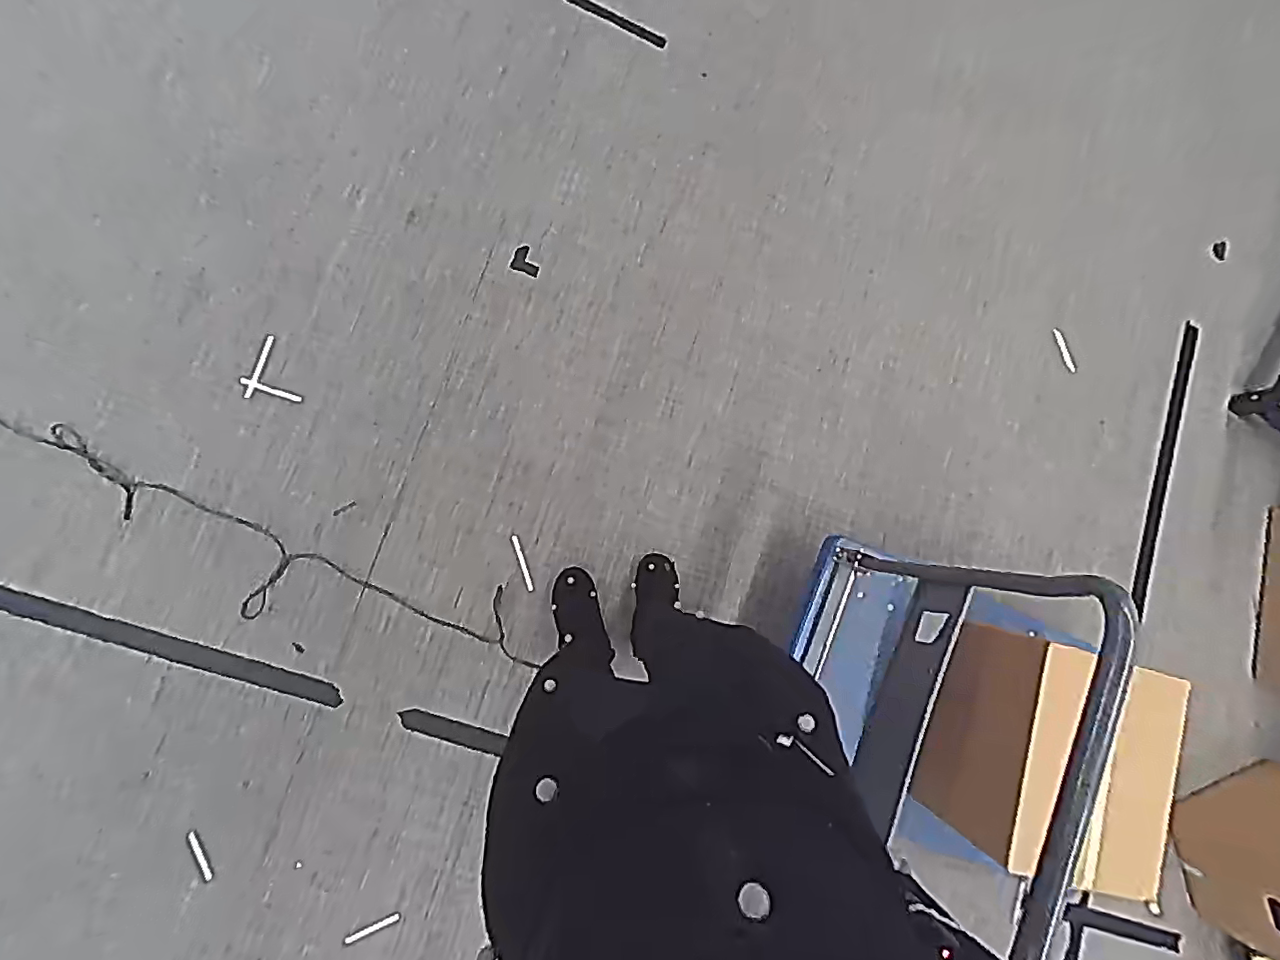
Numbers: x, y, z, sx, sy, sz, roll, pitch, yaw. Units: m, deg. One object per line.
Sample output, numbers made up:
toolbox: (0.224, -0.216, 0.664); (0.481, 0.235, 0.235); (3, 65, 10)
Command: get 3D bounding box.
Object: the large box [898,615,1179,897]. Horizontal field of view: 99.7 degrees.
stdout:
large box: (0.799, 0.533, 1.124); (0.320, 0.320, 0.408); (17, 84, -7)
